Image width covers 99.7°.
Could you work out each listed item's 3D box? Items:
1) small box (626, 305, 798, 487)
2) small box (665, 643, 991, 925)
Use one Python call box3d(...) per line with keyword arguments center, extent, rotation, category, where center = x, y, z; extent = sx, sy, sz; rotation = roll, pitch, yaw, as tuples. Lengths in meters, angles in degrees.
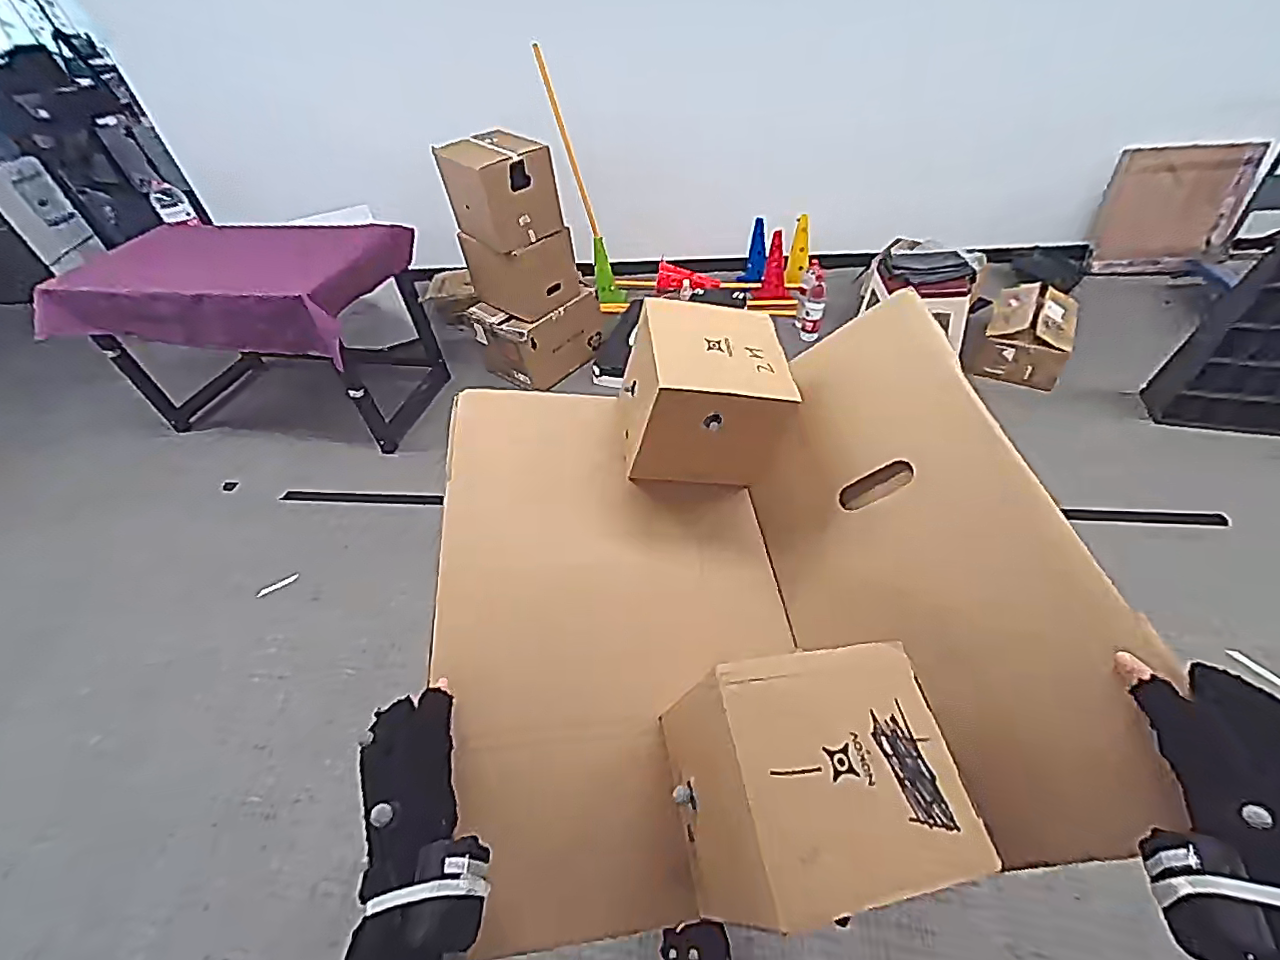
box3d(center=(0.079, -0.105, 0.723), extent=(0.179, 0.176, 0.168), rotation=(4, 53, -13), category="small box")
box3d(center=(0.136, 0.254, 0.464), extent=(0.179, 0.176, 0.168), rotation=(-2, 55, -15), category="small box")
